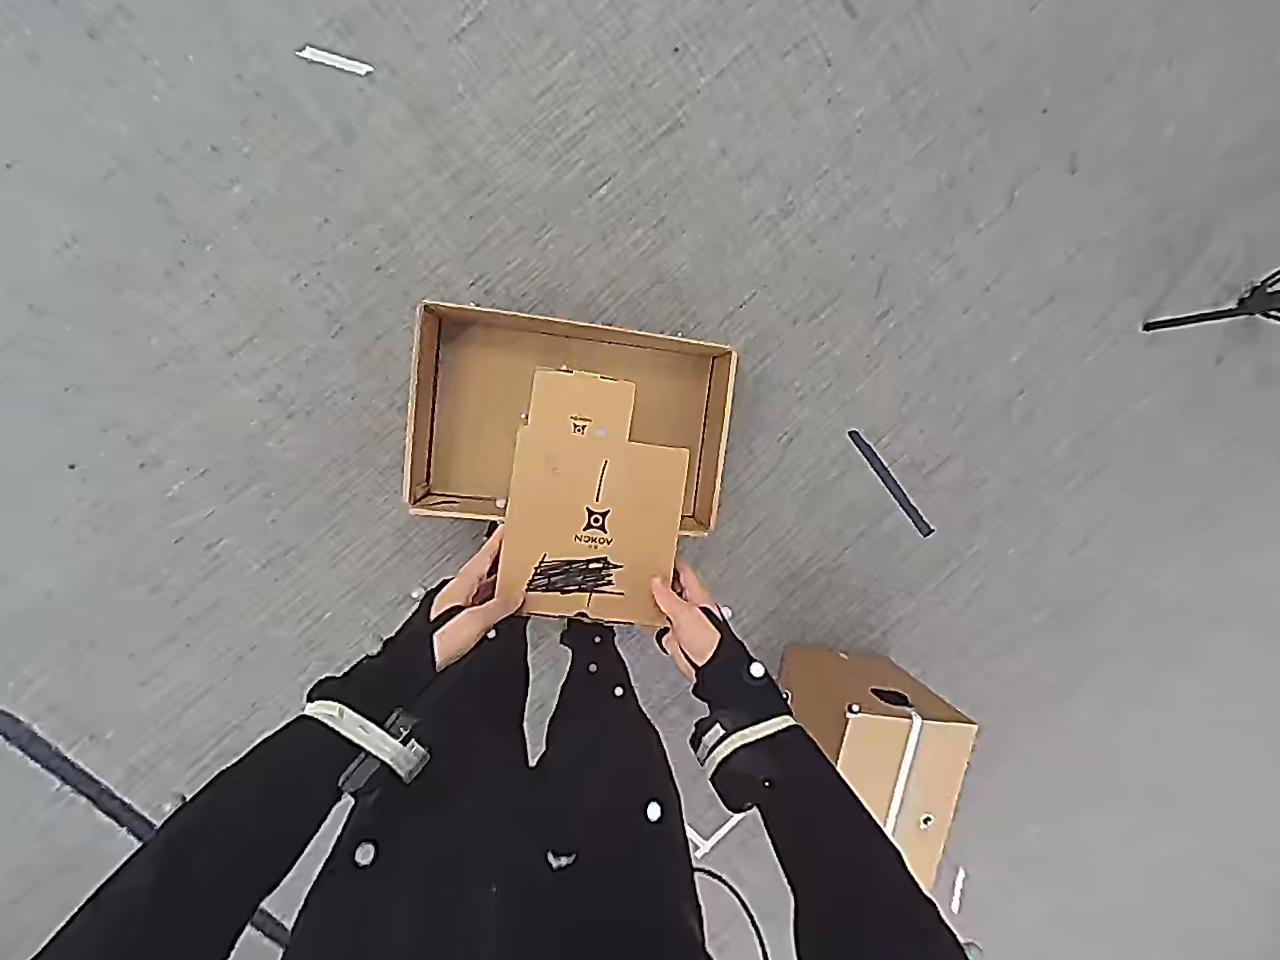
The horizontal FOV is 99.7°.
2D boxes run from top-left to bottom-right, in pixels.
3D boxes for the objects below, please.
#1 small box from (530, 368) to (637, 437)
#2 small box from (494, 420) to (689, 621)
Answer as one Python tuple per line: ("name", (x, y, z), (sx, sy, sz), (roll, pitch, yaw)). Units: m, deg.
("small box", (-0.110, -0.091, 0.950), (0.168, 0.176, 0.179), (7, 96, -10))
("small box", (-0.058, 0.038, 0.591), (0.168, 0.176, 0.179), (8, 90, -11))
